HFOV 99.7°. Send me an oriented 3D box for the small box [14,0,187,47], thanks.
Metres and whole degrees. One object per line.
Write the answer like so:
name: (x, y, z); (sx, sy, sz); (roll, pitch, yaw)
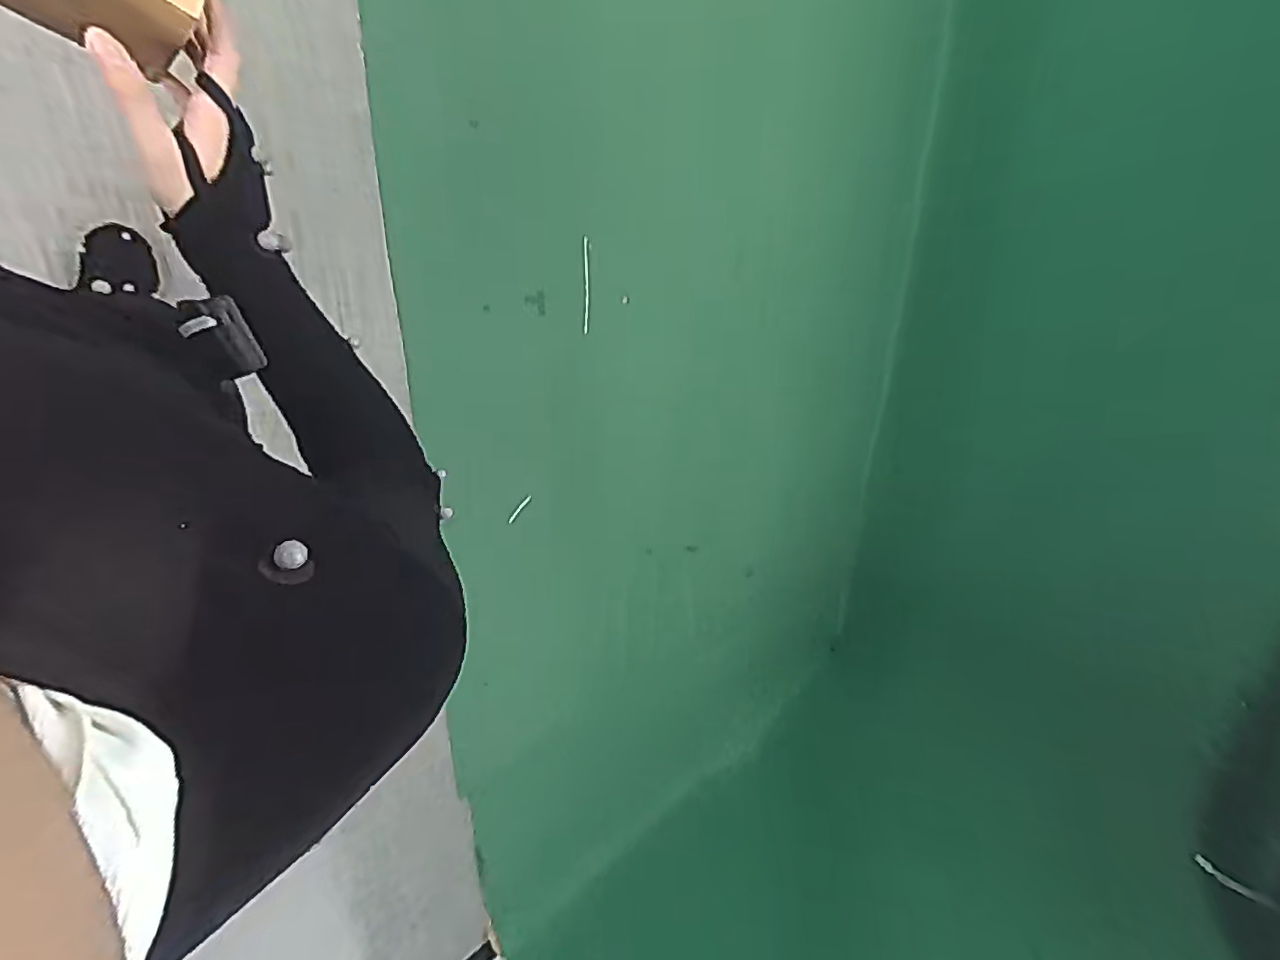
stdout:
small box: (-0.378, -0.406, 0.321); (0.179, 0.176, 0.168); (9, 95, -49)
